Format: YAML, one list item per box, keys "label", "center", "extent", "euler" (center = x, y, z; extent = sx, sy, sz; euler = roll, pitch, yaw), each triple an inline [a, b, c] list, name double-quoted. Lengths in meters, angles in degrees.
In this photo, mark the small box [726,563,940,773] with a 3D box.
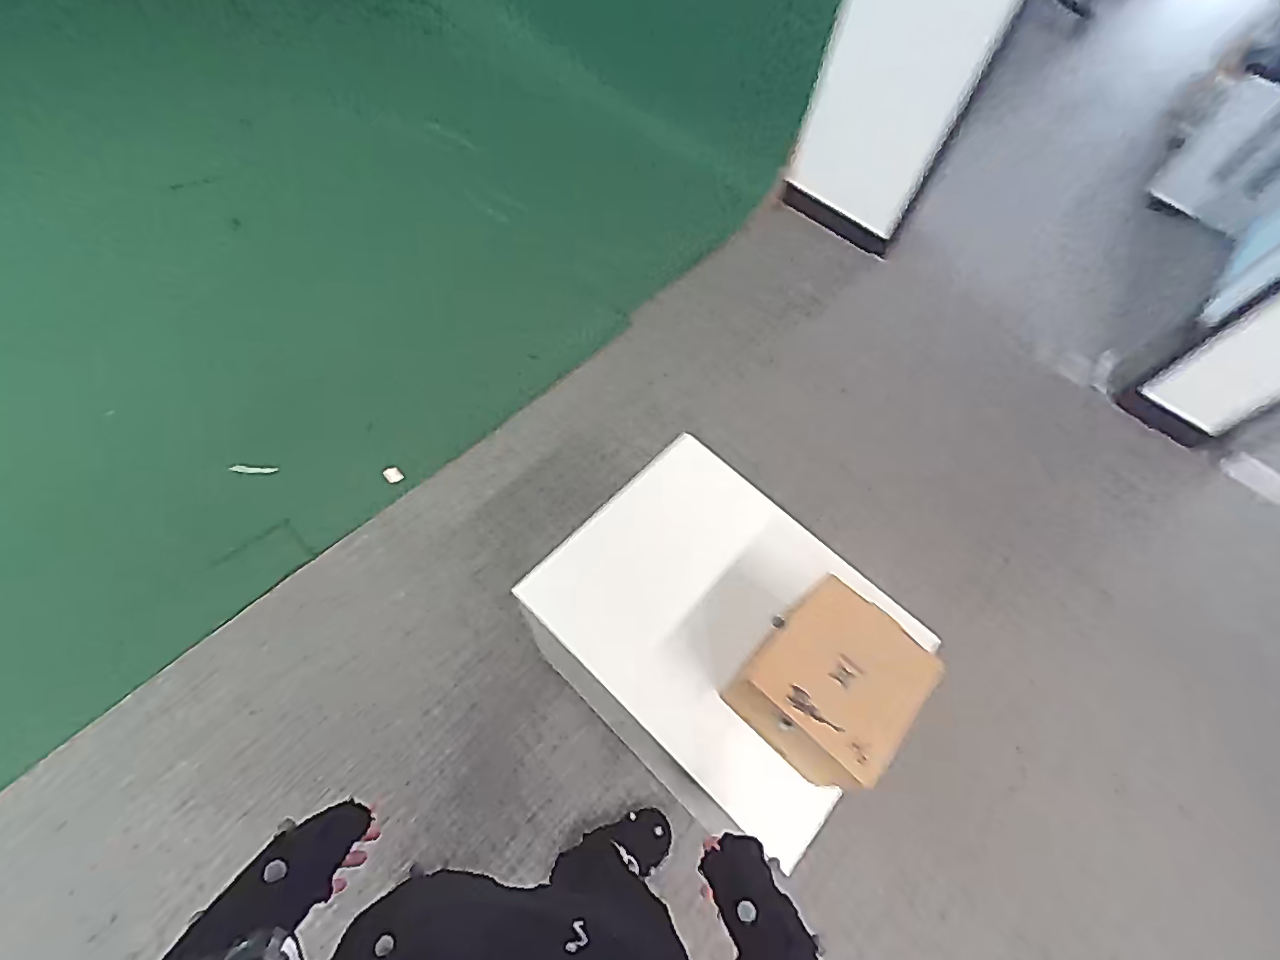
- label: "small box"
  center: [0.232, 0.242, 0.695]
  extent: [0.168, 0.176, 0.179]
  euler: [41, 67, 16]
